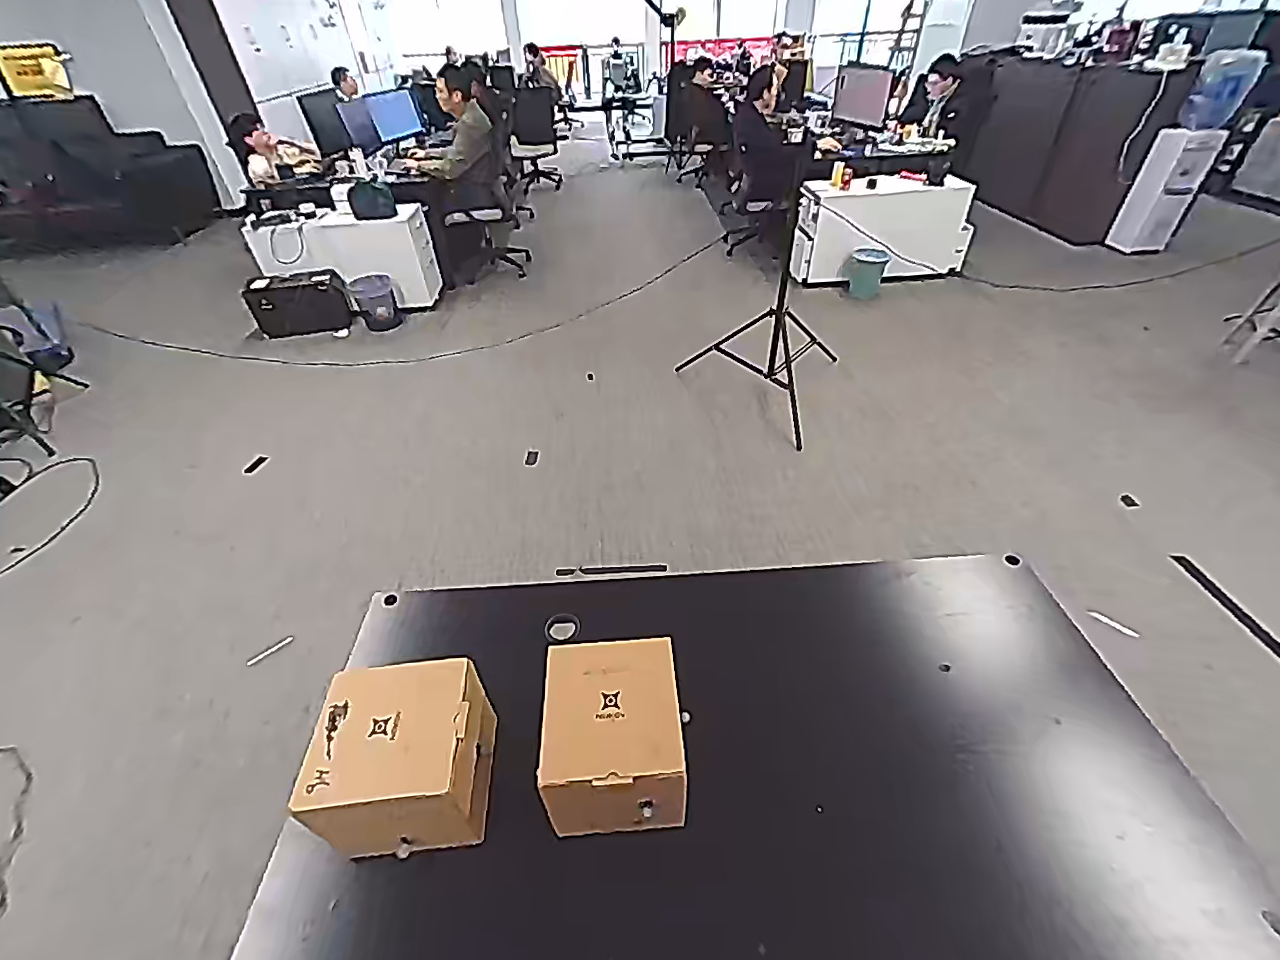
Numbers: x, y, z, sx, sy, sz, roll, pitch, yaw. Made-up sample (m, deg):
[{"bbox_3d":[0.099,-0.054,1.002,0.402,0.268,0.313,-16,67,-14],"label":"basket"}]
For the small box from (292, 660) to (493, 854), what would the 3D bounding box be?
[{"bbox_3d":[-0.294,0.355,0.694,0.179,0.176,0.168,-4,40,-4],"label":"small box"}]

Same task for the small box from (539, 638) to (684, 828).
[{"bbox_3d":[-0.033,0.334,0.710,0.168,0.176,0.179,-3,40,-3],"label":"small box"}]
